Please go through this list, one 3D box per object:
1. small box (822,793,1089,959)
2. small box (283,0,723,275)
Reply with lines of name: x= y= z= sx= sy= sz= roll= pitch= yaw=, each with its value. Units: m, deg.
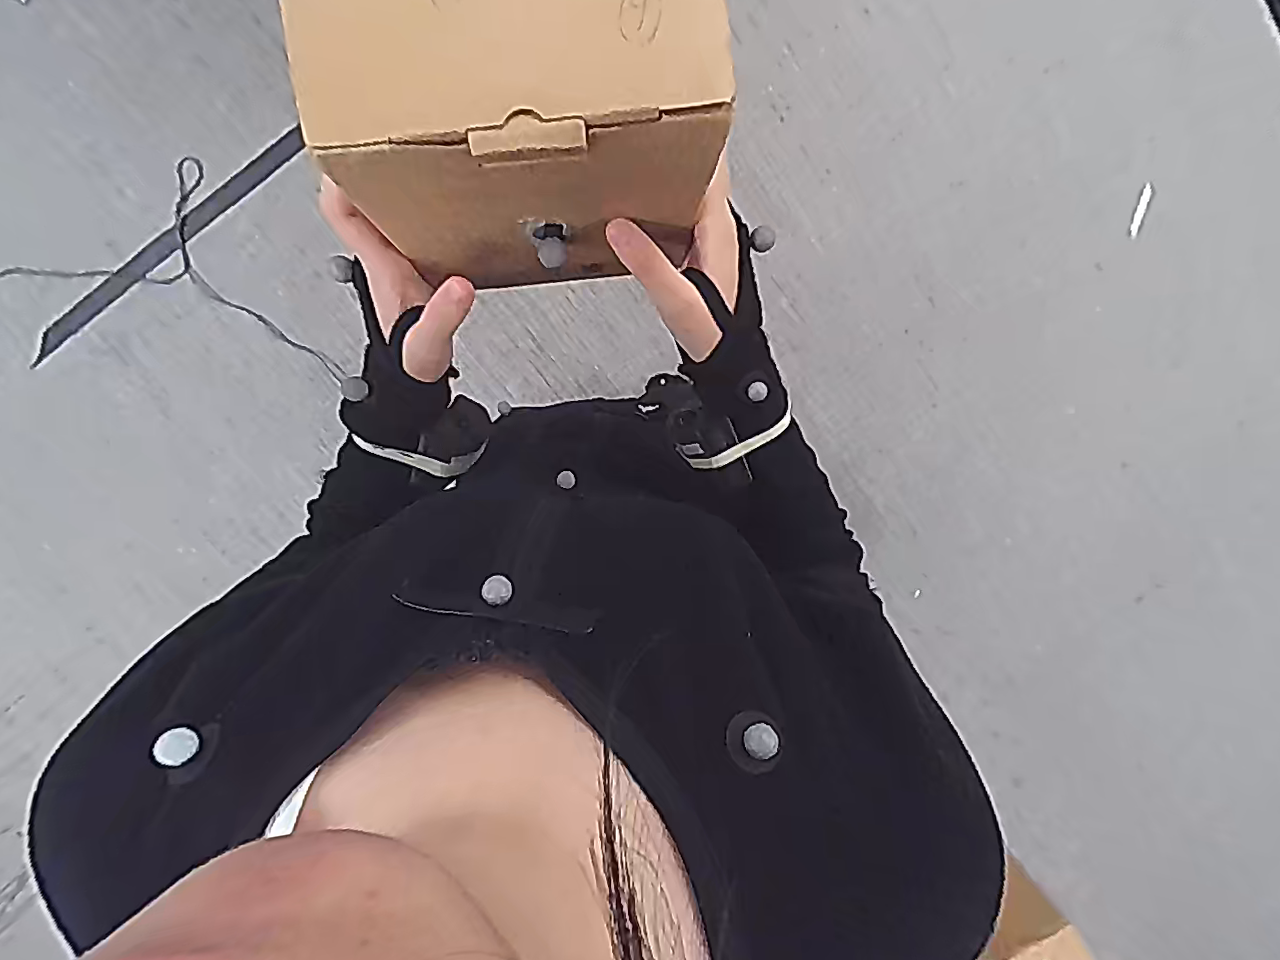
small box: x=0.311 y=0.448 z=0.530 sx=0.168 sy=0.176 sz=0.179 roll=-34 pitch=99 yaw=3
small box: x=-0.060 y=-0.221 z=0.285 sx=0.168 sy=0.176 sz=0.179 roll=-8 pitch=93 yaw=-3
